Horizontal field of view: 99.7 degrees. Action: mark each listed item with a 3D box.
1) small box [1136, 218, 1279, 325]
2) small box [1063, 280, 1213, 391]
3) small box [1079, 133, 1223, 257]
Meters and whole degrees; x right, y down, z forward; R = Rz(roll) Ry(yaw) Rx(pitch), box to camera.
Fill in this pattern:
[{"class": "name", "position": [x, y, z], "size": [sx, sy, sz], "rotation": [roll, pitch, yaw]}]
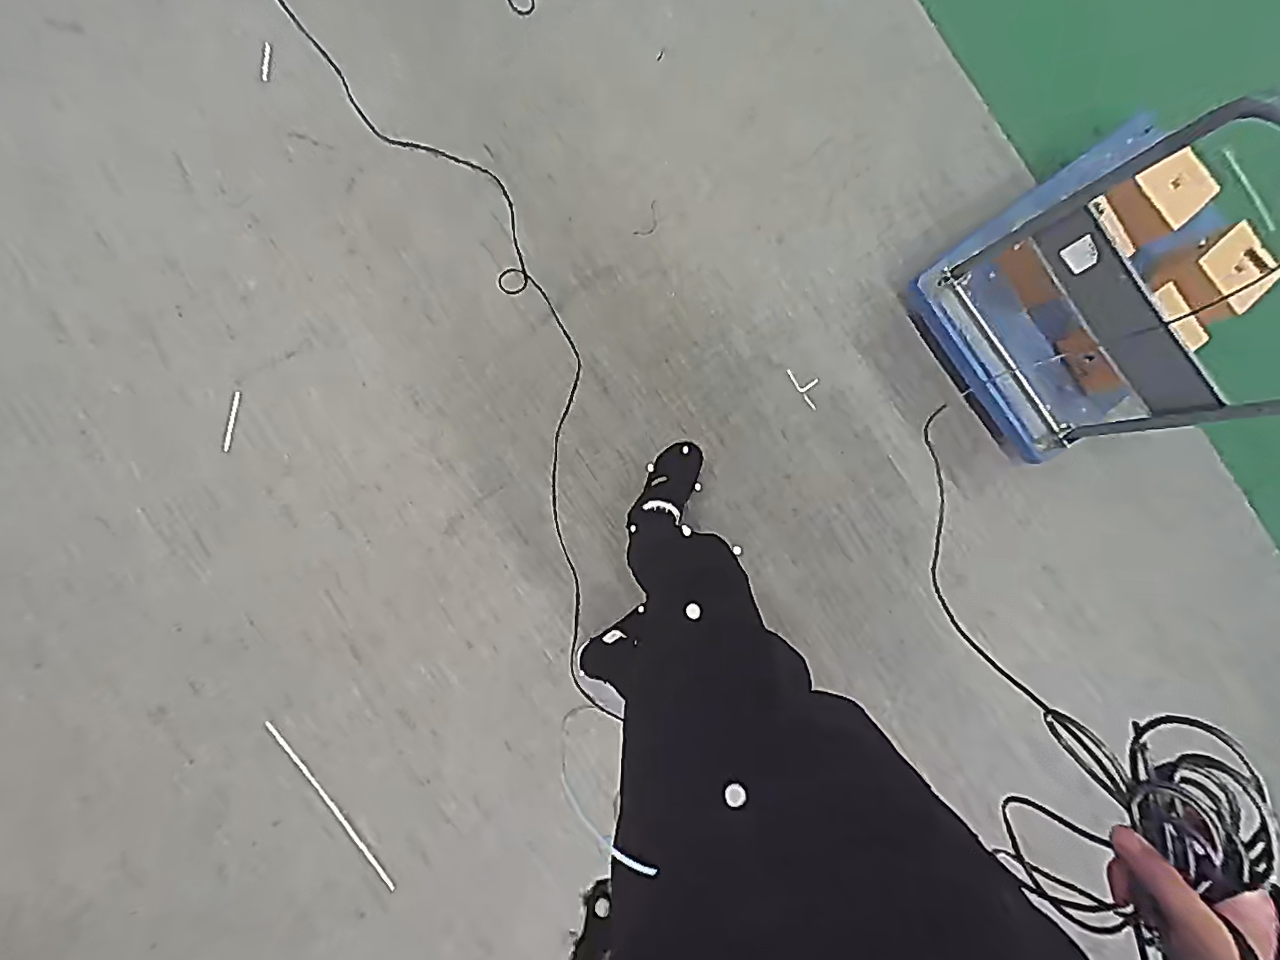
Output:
[{"class": "small box", "position": [1.402, -0.496, 1.337], "size": [0.179, 0.176, 0.168], "rotation": [-40, 91, -7]}, {"class": "small box", "position": [1.186, -0.339, 1.300], "size": [0.179, 0.176, 0.168], "rotation": [-35, 91, -7]}, {"class": "small box", "position": [1.240, -0.689, 1.330], "size": [0.179, 0.176, 0.168], "rotation": [-40, 92, -8]}]
